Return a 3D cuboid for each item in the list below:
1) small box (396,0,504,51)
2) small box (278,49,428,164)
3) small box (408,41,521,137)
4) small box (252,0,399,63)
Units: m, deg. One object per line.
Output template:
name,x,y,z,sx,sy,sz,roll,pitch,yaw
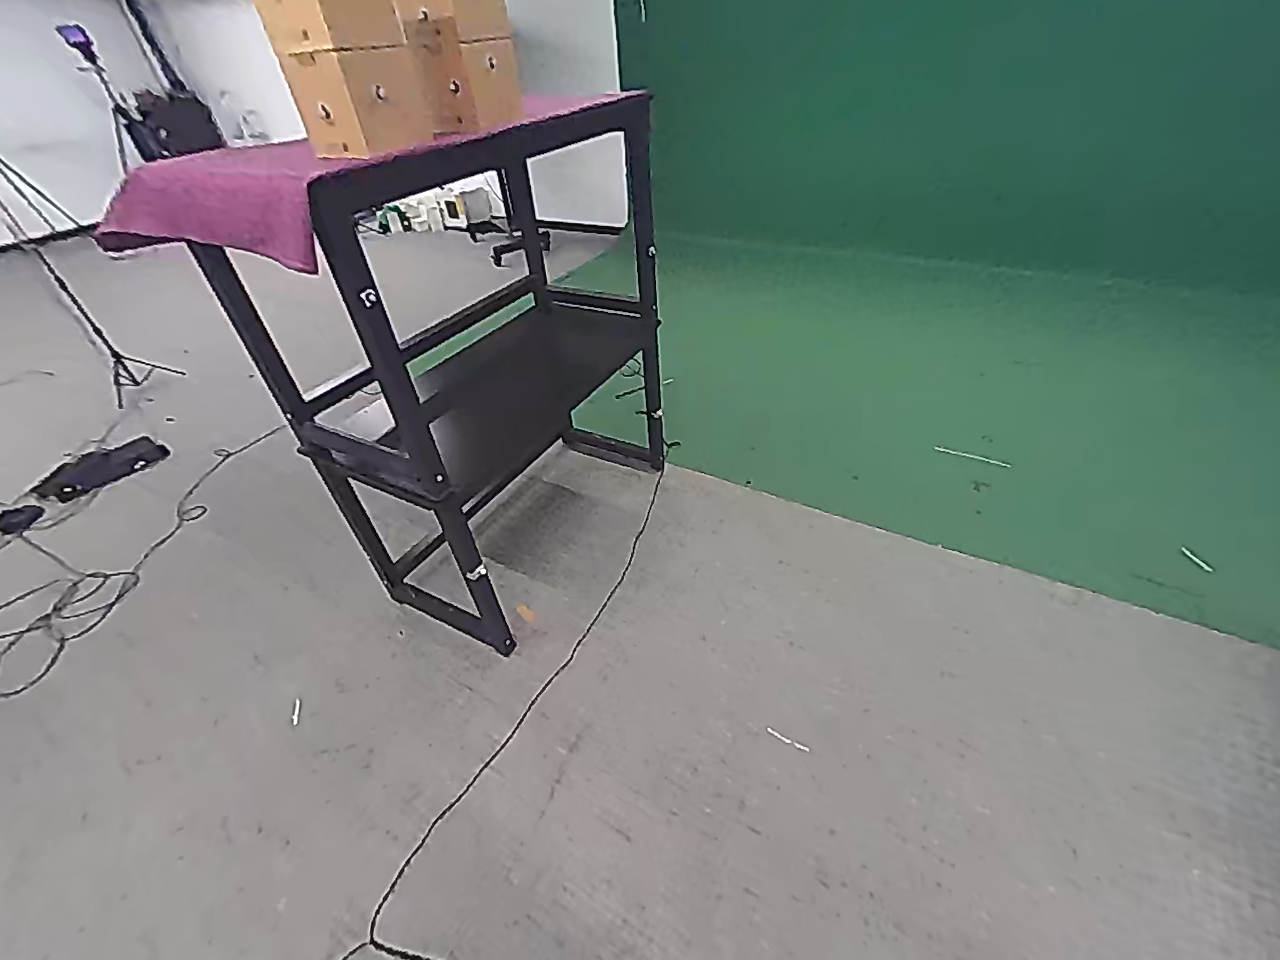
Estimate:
small box,-0.420,-1.053,1.185,0.168,0.176,0.179,16,45,24
small box,-0.561,-0.744,1.084,0.168,0.176,0.179,15,44,23
small box,-0.407,-0.928,1.289,0.168,0.176,0.179,16,44,24
small box,-0.578,-0.869,0.981,0.168,0.176,0.179,14,42,23
